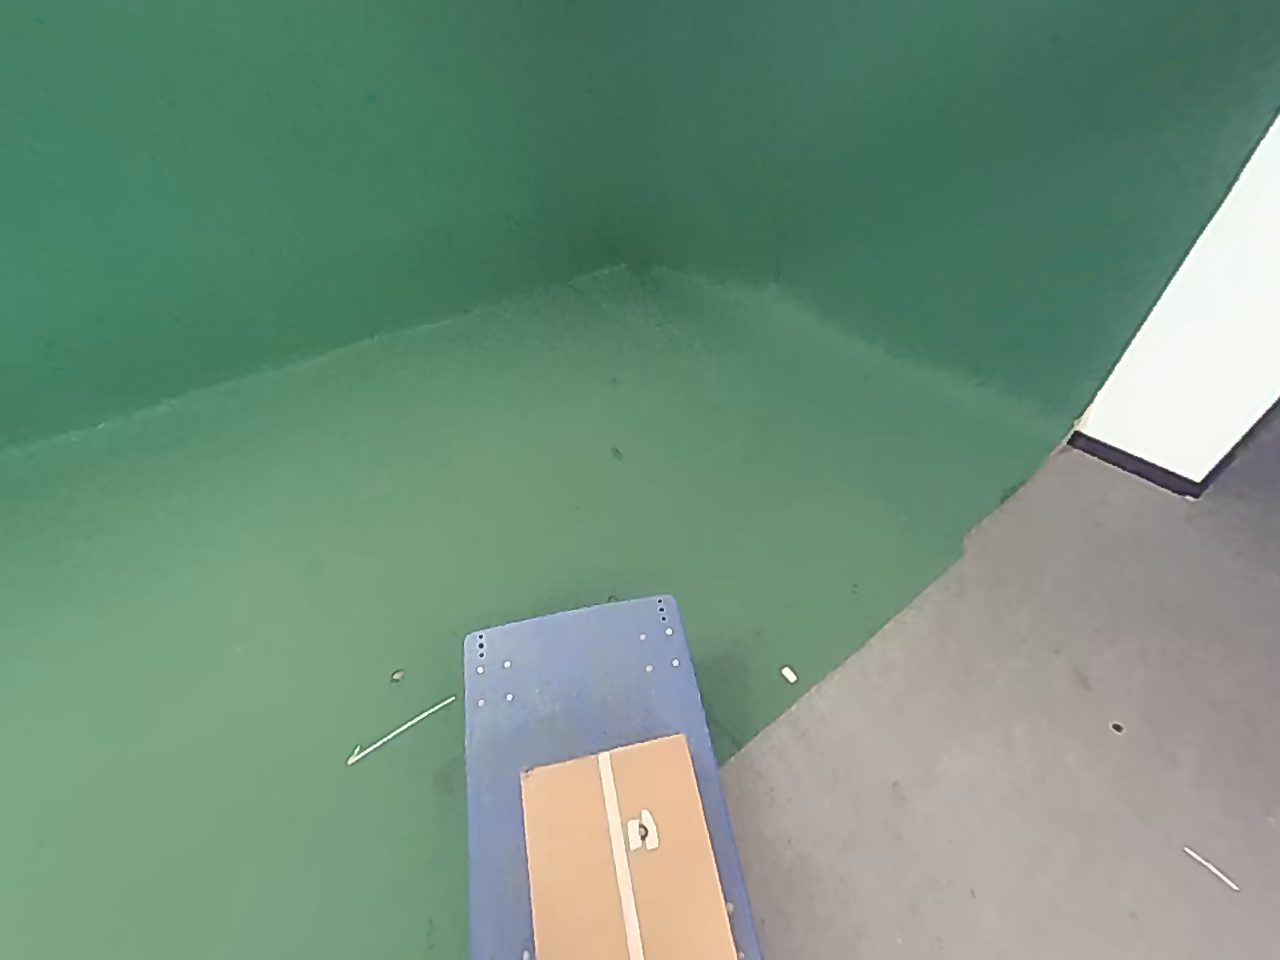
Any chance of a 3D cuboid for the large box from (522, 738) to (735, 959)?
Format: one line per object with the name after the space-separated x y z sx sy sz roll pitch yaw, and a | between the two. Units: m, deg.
-0.022 0.762 1.044 0.320 0.320 0.408 -11 59 -4 | large box
